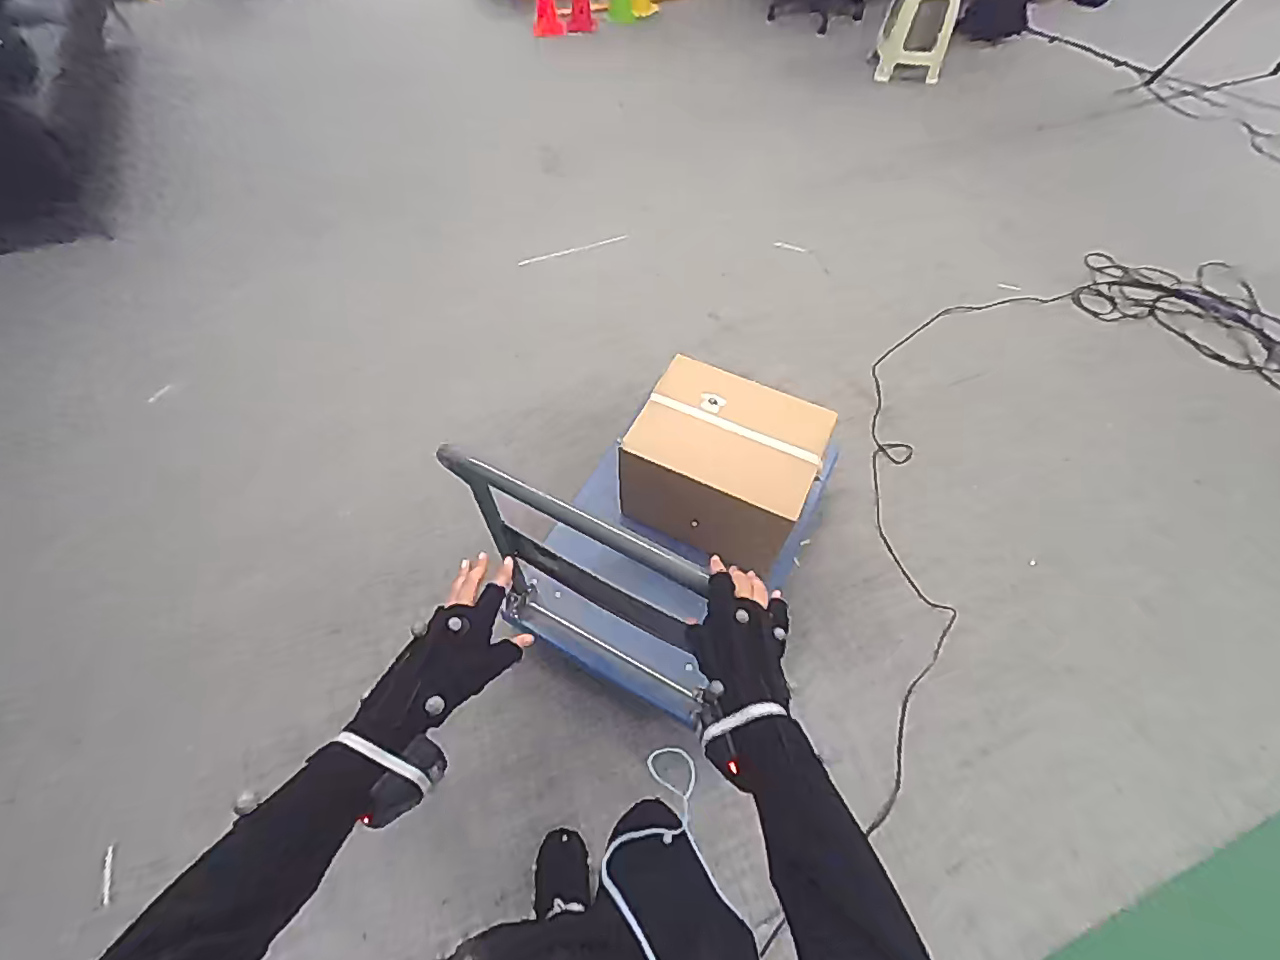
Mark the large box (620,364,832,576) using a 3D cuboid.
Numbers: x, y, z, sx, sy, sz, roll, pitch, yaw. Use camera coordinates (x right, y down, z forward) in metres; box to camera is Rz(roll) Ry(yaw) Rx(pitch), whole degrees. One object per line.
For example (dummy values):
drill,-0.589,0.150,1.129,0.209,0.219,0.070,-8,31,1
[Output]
large box,0.200,-0.019,1.329,0.408,0.320,0.320,22,60,14
